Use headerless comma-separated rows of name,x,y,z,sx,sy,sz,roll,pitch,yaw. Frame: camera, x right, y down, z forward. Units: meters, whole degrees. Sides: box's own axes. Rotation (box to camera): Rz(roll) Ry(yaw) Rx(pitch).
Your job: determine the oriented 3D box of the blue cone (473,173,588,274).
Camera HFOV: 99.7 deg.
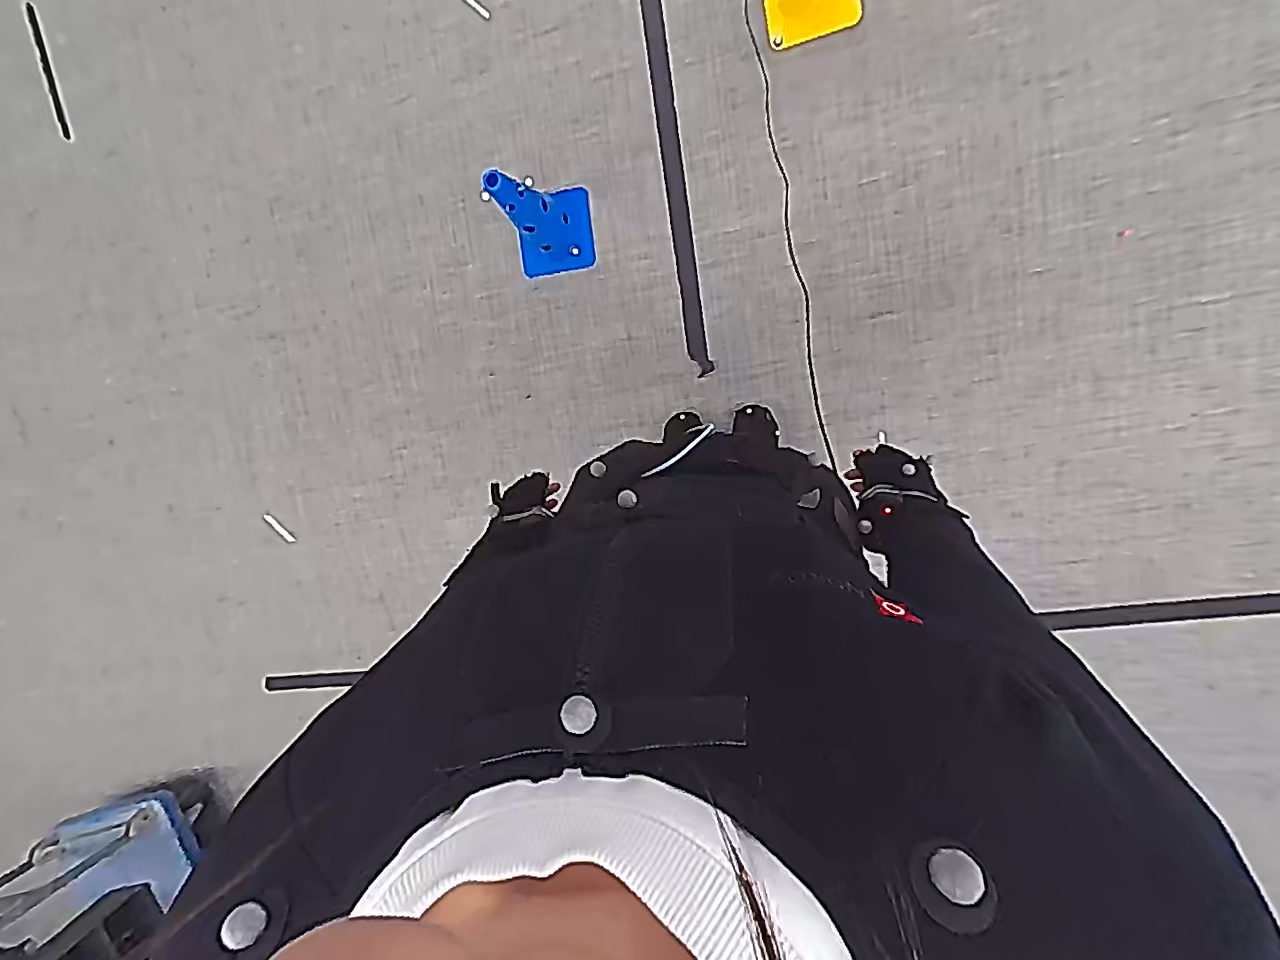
blue cone,-0.265,-0.620,1.245,0.192,0.380,0.193,-3,98,13
